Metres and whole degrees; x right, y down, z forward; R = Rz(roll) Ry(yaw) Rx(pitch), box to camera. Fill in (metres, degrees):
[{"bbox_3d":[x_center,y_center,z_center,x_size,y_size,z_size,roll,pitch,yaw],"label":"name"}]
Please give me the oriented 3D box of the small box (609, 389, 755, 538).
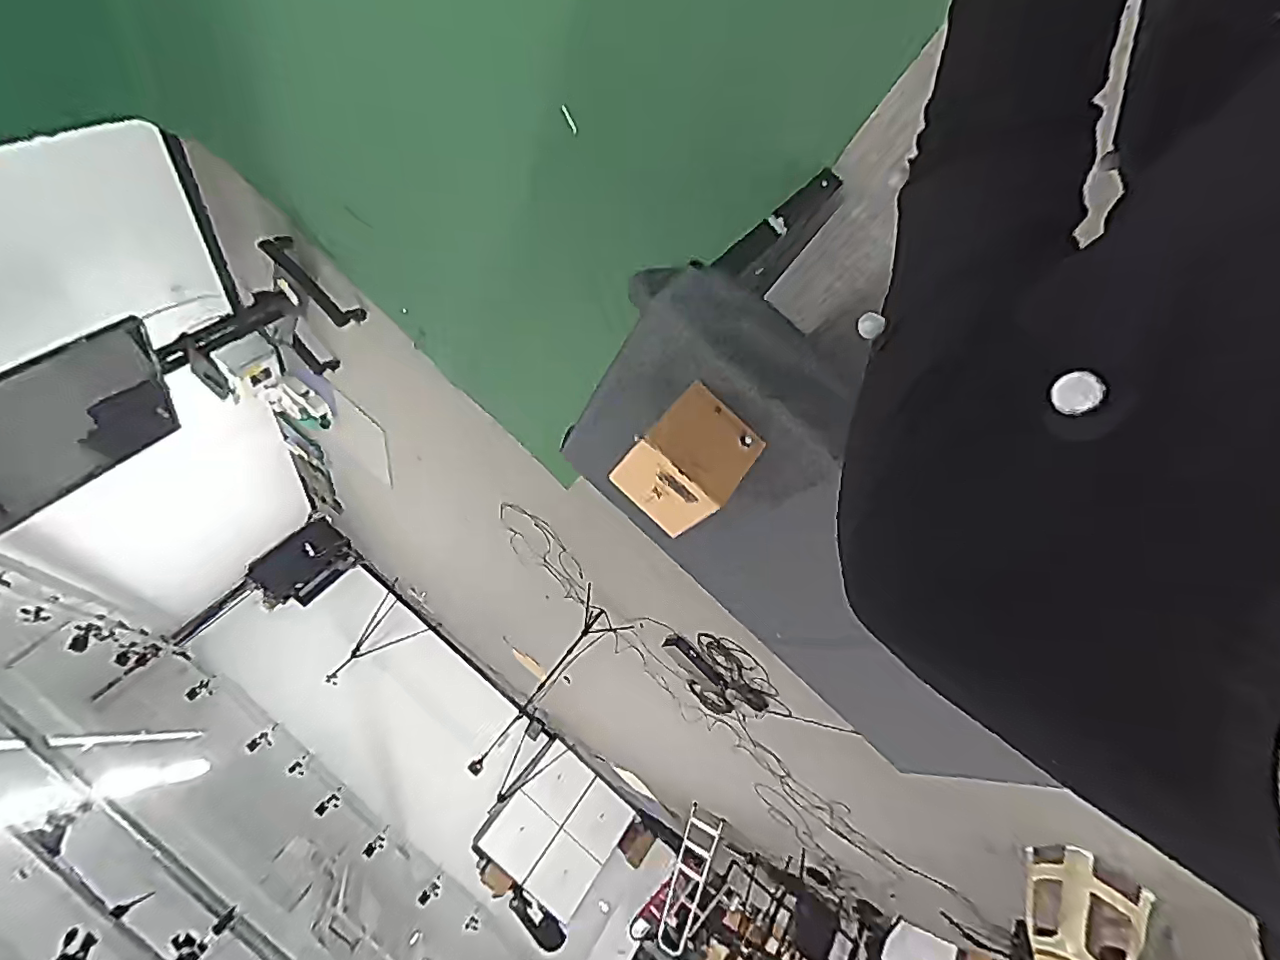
[{"bbox_3d":[0.078,-0.030,0.957,0.168,0.176,0.179,42,149,-2],"label":"small box"}]
